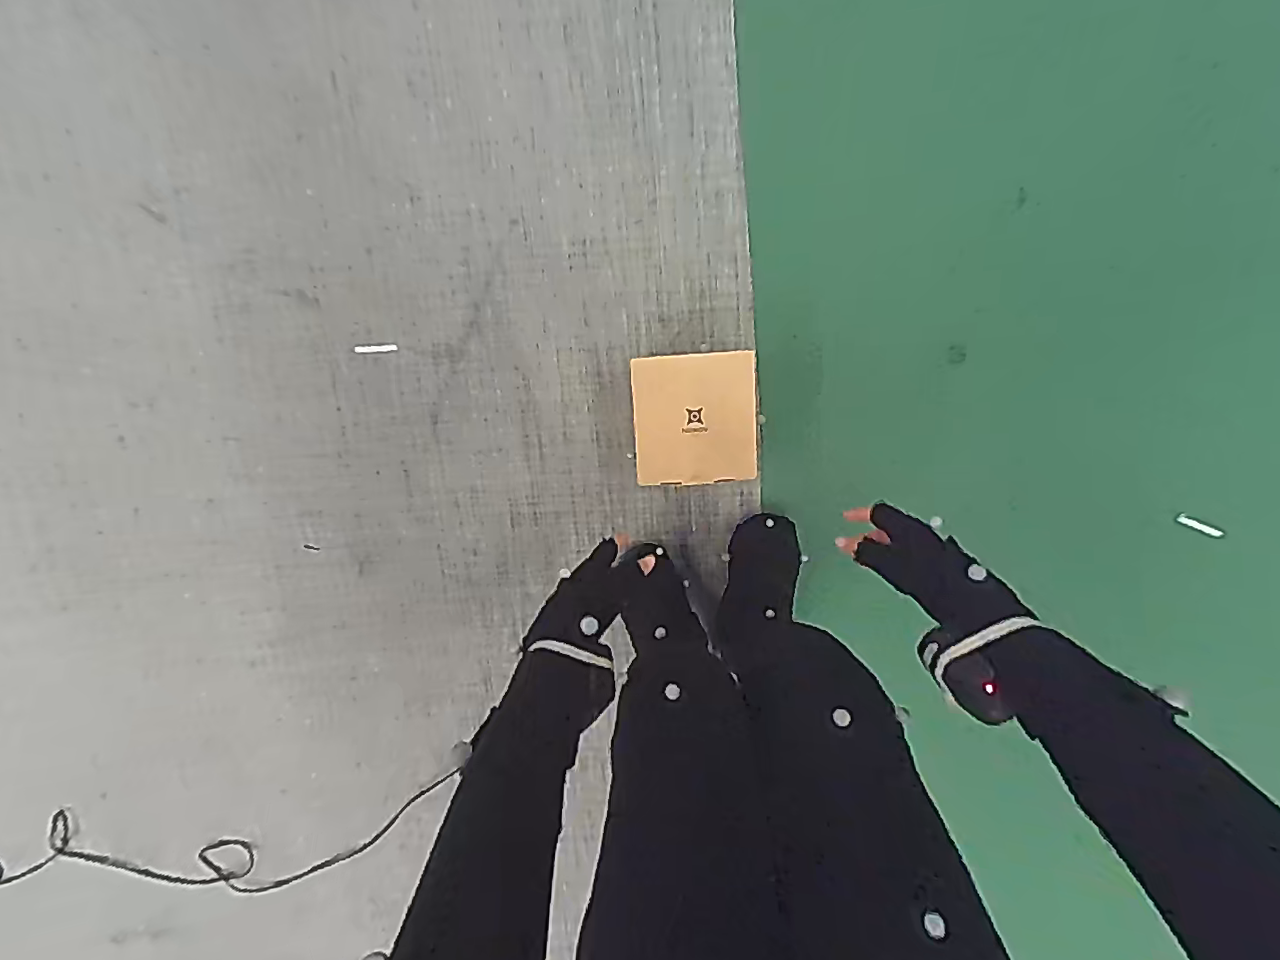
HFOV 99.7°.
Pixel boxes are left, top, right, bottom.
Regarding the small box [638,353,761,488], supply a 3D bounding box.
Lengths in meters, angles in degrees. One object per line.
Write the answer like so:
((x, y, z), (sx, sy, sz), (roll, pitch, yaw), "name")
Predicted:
((0.085, -0.092, 0.809), (0.168, 0.176, 0.179), (-3, 101, 4), "small box")
